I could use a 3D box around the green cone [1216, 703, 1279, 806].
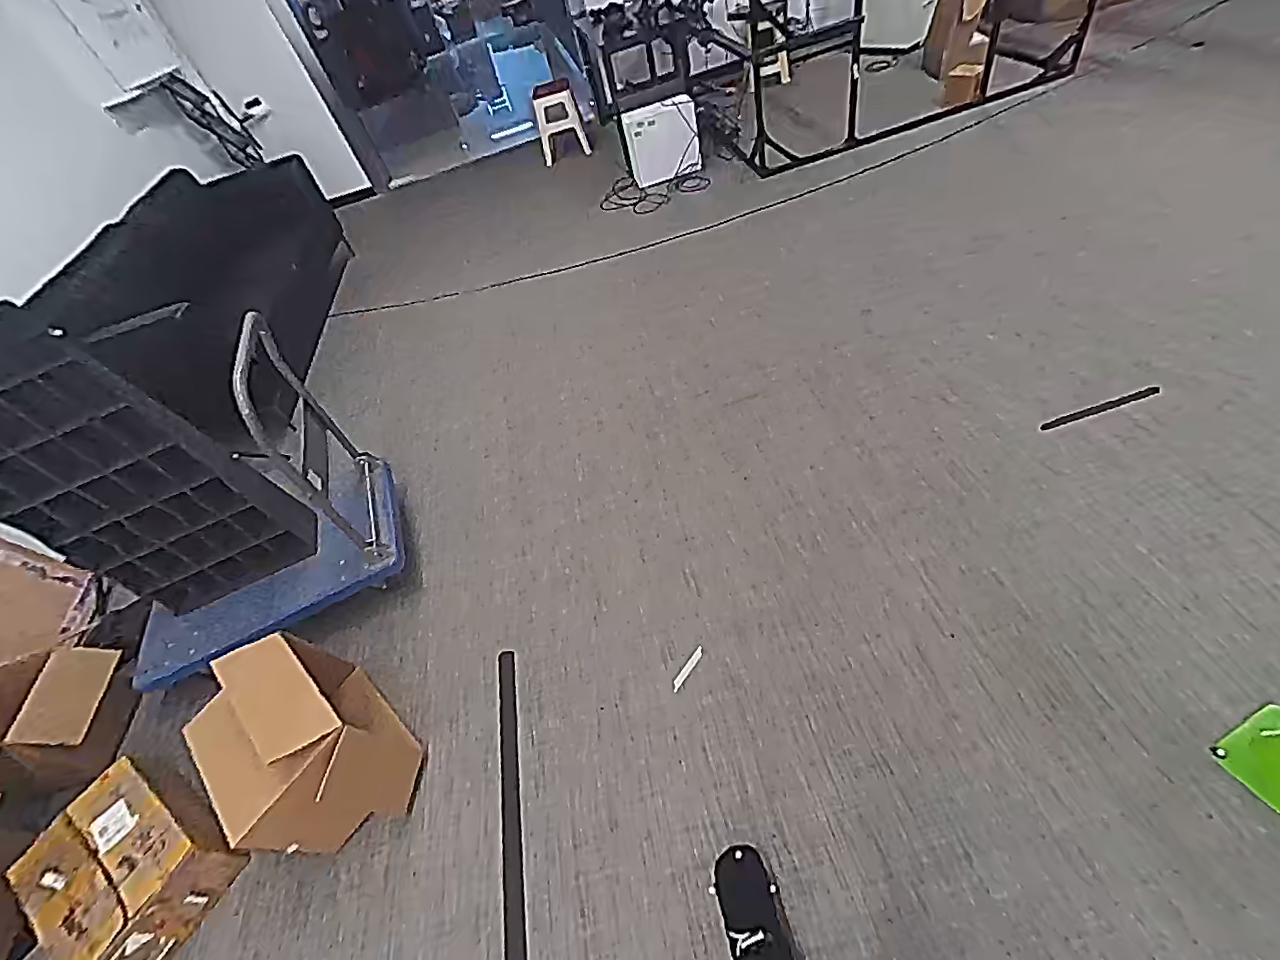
[{"bbox_3d":[1.256,0.454,0.926,0.202,0.368,0.200,-29,48,-10],"label":"green cone"}]
